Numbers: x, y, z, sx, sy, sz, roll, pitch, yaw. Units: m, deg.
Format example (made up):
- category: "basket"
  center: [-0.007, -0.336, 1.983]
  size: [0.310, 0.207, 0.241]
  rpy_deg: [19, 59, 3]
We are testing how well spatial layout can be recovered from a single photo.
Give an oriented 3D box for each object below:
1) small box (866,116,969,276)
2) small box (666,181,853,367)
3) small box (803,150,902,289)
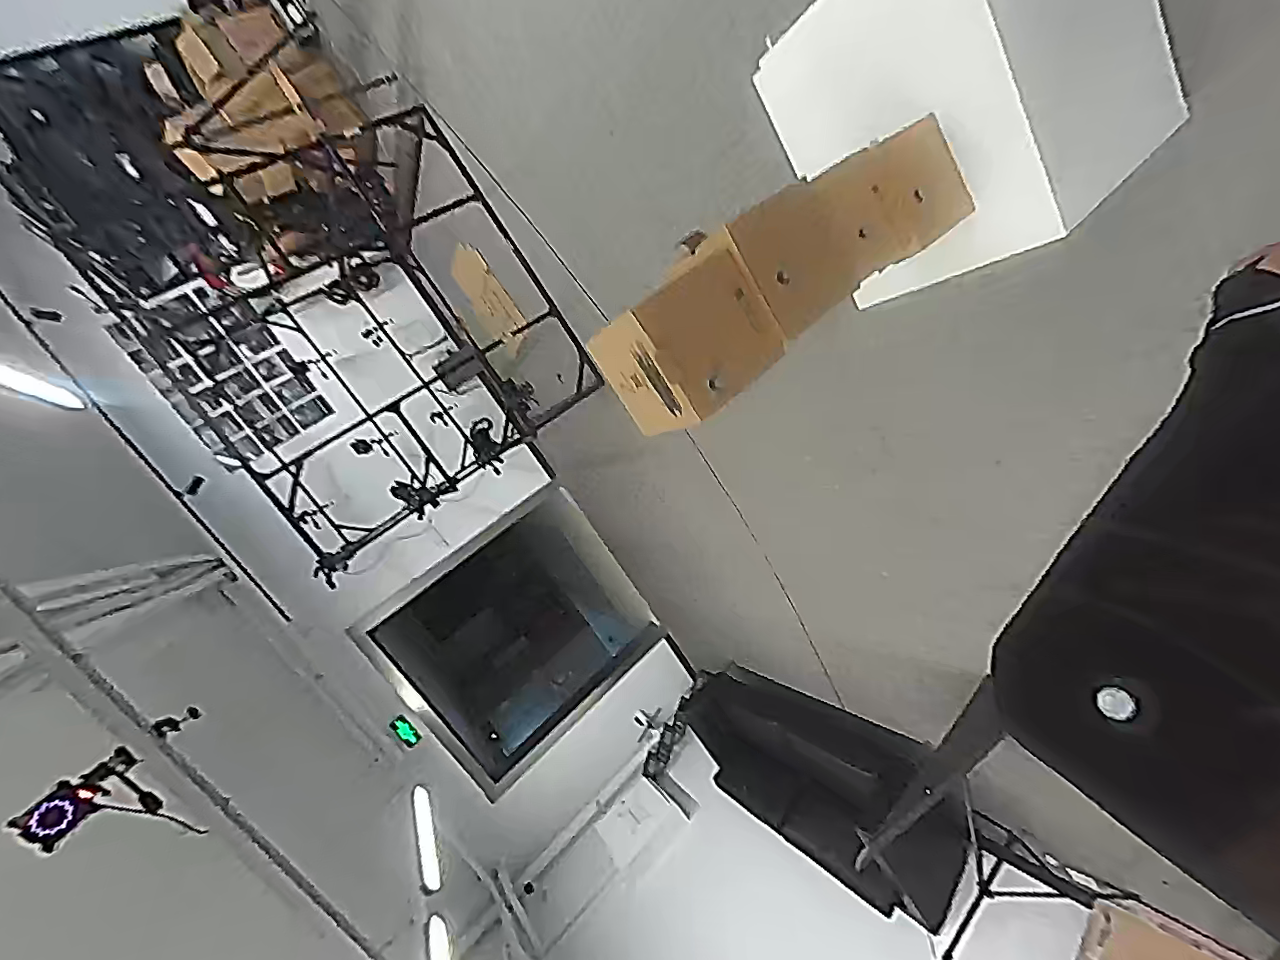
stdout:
- category: "small box"
  center: [0.421, -0.474, 0.927]
  size: [0.179, 0.176, 0.168]
  rpy_deg: [57, 157, -12]
- category: "small box"
  center: [0.178, -0.297, 0.798]
  size: [0.179, 0.176, 0.168]
  rpy_deg: [57, 157, -13]
- category: "small box"
  center: [0.290, -0.390, 0.876]
  size: [0.168, 0.176, 0.179]
  rpy_deg: [57, 158, -13]
